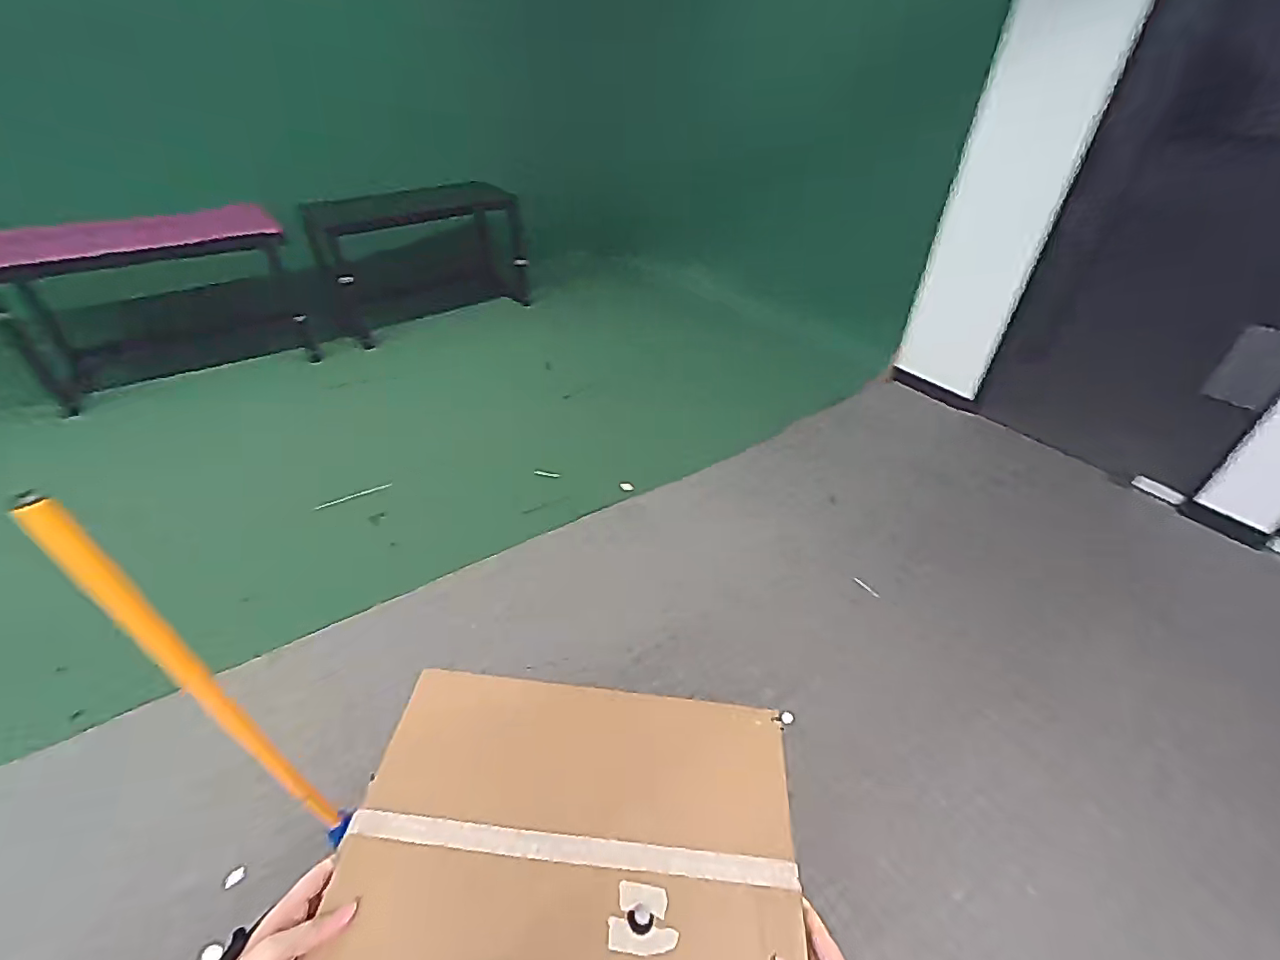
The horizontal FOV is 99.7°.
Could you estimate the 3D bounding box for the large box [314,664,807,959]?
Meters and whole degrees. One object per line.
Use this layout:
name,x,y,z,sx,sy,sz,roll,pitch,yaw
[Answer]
large box,-0.064,0.444,0.600,0.408,0.320,0.320,7,41,2
